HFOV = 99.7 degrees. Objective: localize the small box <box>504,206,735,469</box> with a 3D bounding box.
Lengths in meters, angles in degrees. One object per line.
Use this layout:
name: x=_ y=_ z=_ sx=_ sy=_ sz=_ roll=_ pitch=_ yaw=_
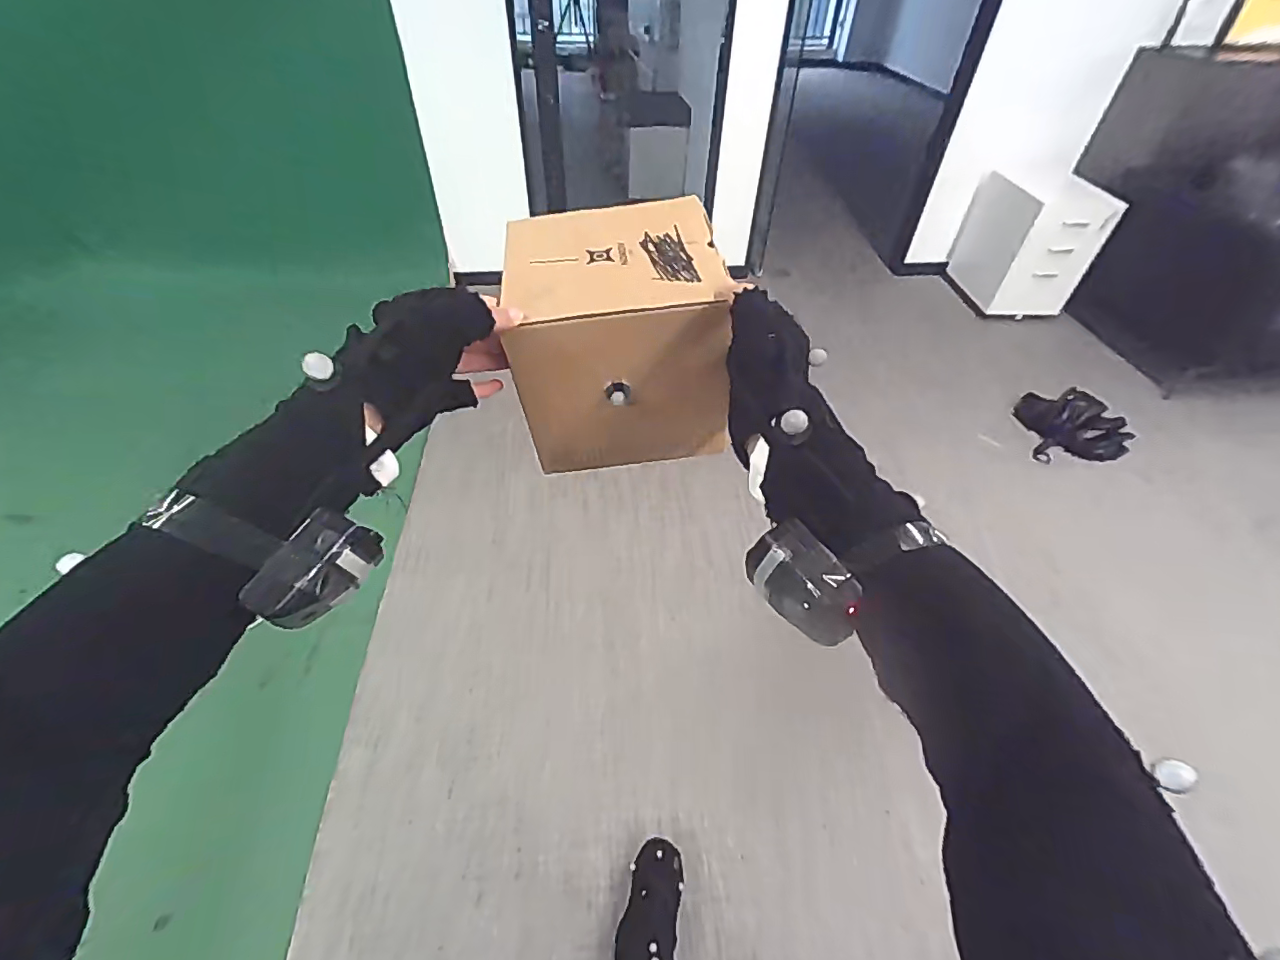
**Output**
small box: x=-0.018 y=-0.130 z=0.512 sx=0.179 sy=0.176 sz=0.168 roll=-8 pitch=50 yaw=0
